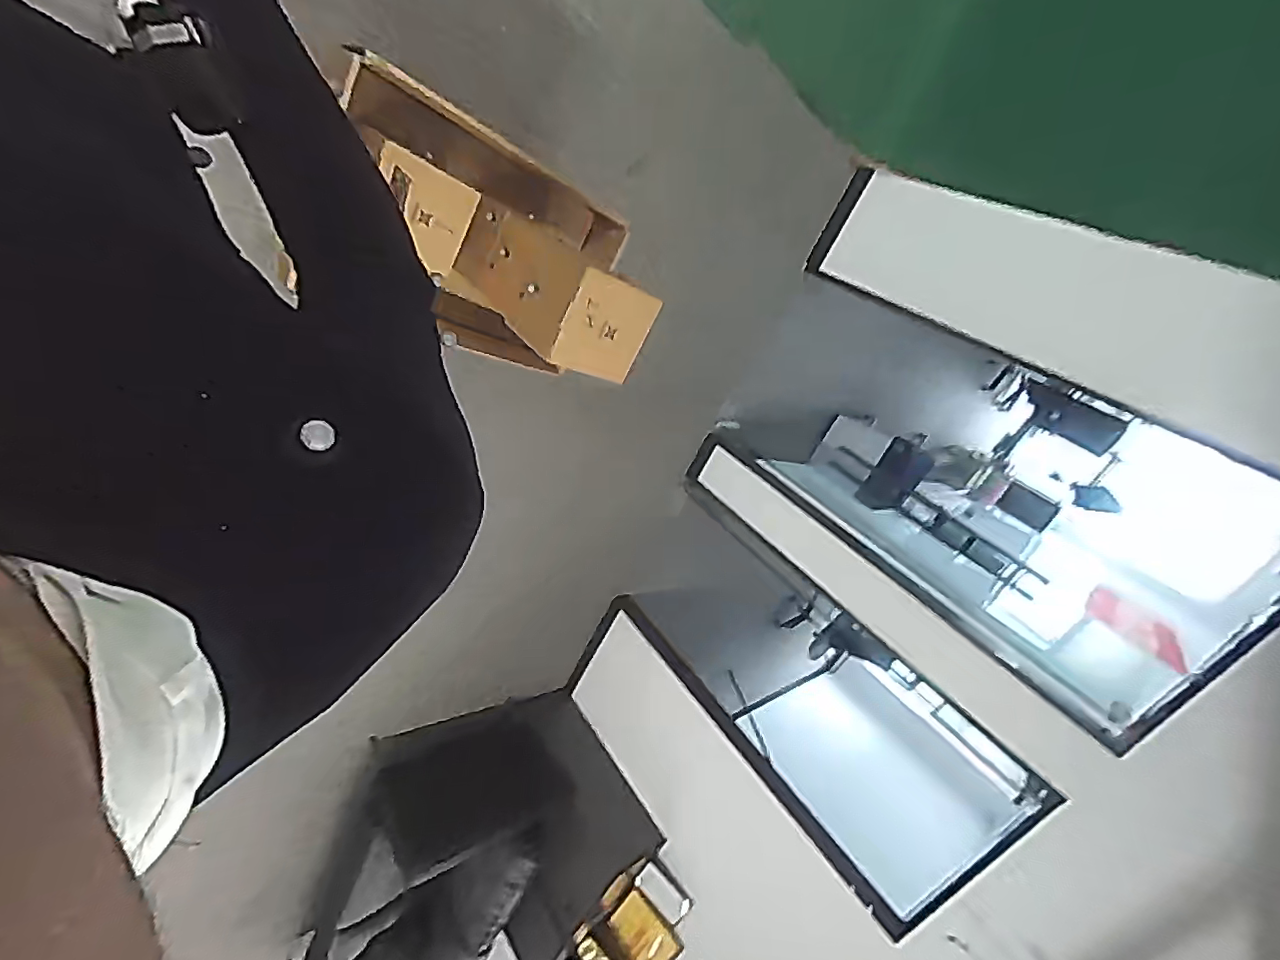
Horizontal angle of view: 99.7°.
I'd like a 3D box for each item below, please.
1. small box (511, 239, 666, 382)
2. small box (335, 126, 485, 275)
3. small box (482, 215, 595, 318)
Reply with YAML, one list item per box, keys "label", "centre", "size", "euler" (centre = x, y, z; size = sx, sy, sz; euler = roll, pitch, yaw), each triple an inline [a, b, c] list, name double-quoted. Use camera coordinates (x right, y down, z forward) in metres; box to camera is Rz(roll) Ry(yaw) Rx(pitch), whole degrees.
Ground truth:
- label: "small box"
  centre: [-0.095, -0.298, 0.952]
  size: [0.179, 0.176, 0.168]
  euler: [8, 119, -46]
- label: "small box"
  centre: [-0.420, -0.505, 0.975]
  size: [0.179, 0.176, 0.168]
  euler: [7, 120, -51]
- label: "small box"
  centre: [-0.178, -0.391, 1.061]
  size: [0.179, 0.176, 0.168]
  euler: [10, 118, -46]
